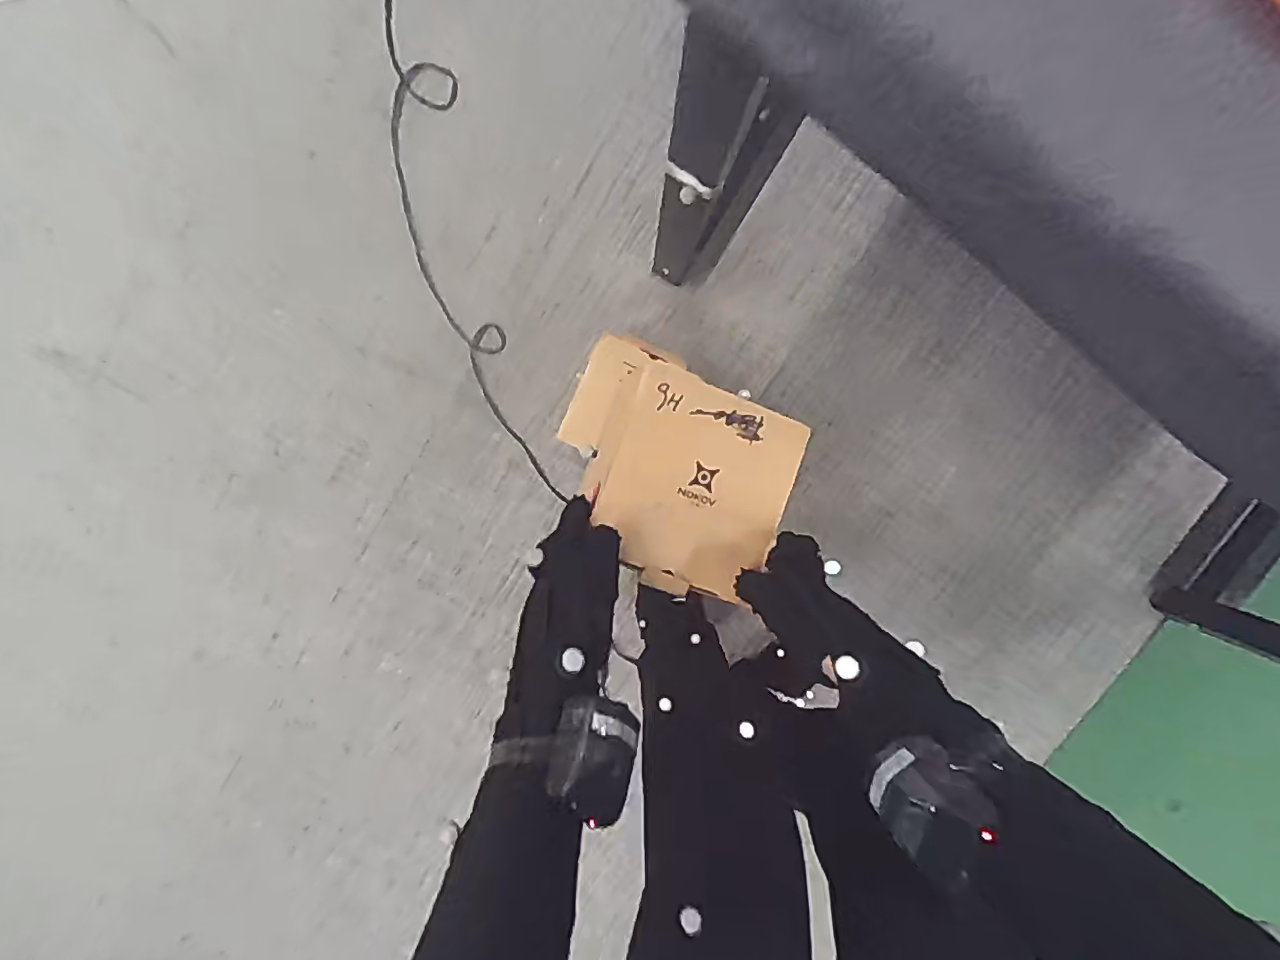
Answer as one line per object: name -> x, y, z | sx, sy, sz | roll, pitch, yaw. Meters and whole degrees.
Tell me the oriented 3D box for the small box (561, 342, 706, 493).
small box -> -0.012, -0.102, 0.878 | 0.168, 0.176, 0.179 | 25, 98, -4
